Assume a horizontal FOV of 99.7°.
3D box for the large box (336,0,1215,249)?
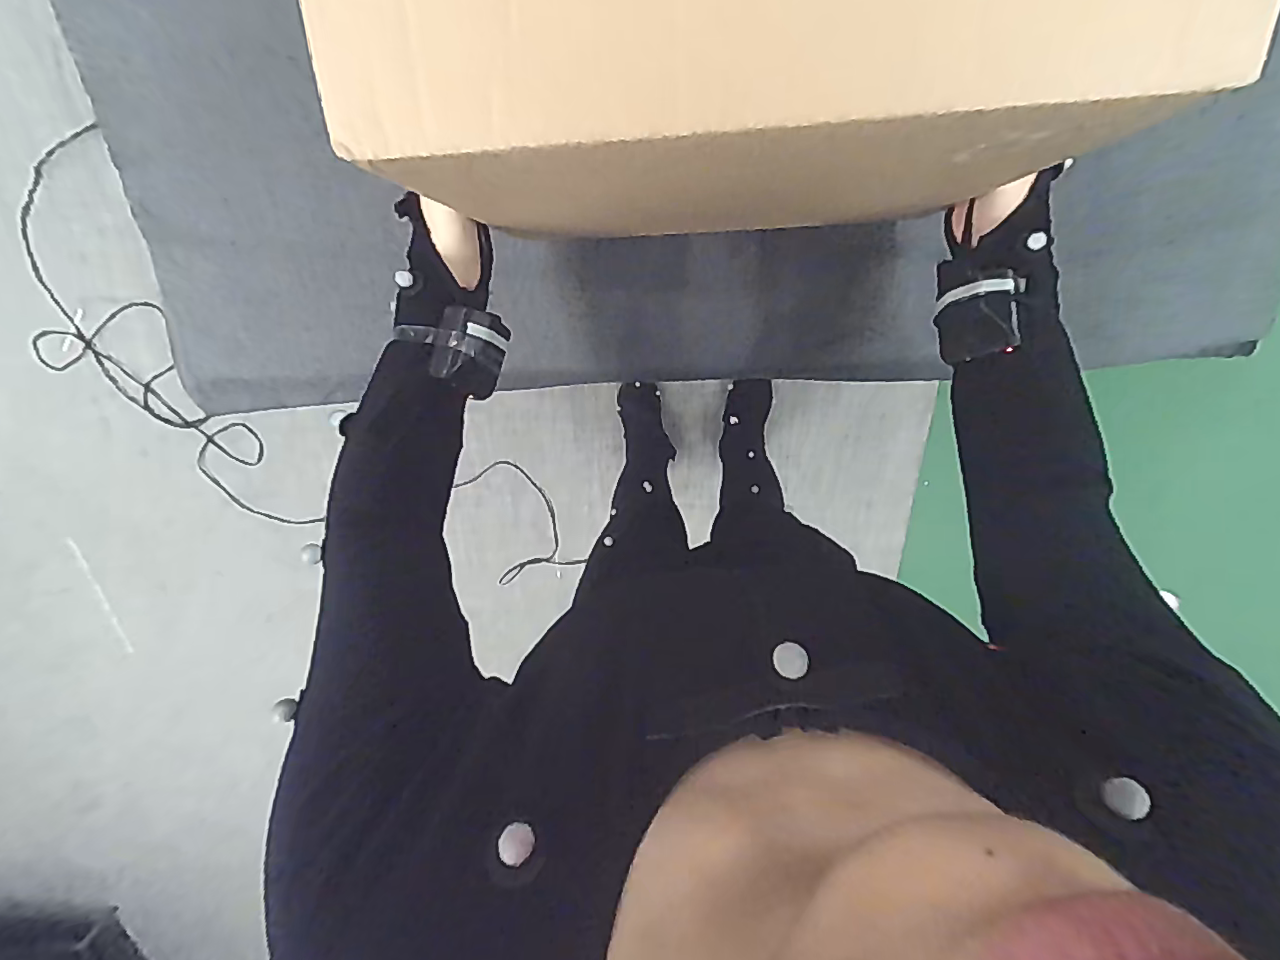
[{"bbox_3d":[0.056,-0.355,0.364,0.408,0.320,0.320,-2,107,5],"label":"large box"}]
